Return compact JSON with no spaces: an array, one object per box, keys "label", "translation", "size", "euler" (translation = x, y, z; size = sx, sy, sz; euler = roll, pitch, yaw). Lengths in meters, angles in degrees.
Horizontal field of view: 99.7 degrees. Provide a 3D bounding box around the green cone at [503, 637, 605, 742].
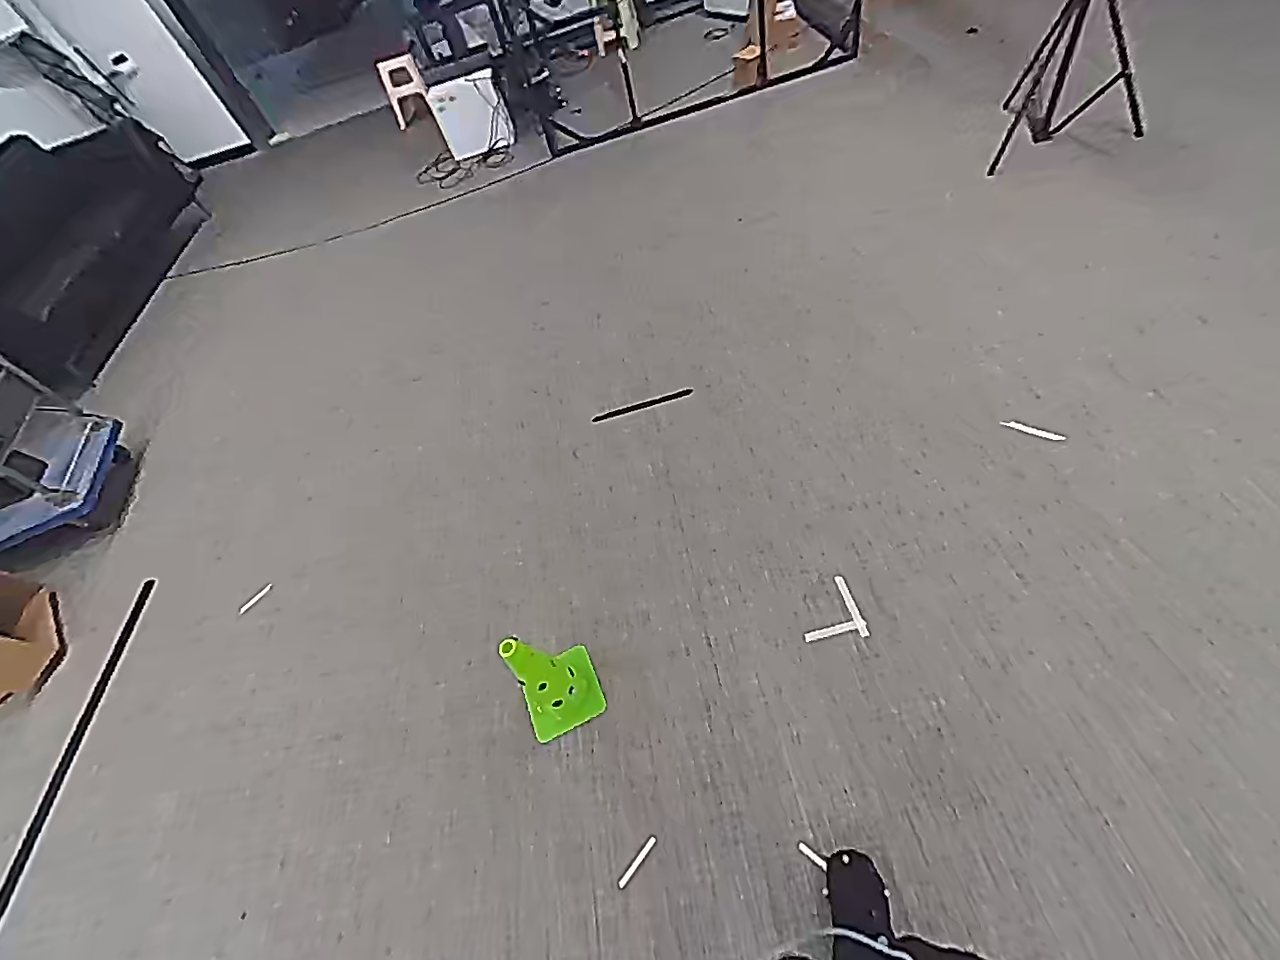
[{"label":"green cone","translation":[-0.247,0.472,1.322],"size":[0.202,0.368,0.200],"euler":[-27,52,-5]}]
